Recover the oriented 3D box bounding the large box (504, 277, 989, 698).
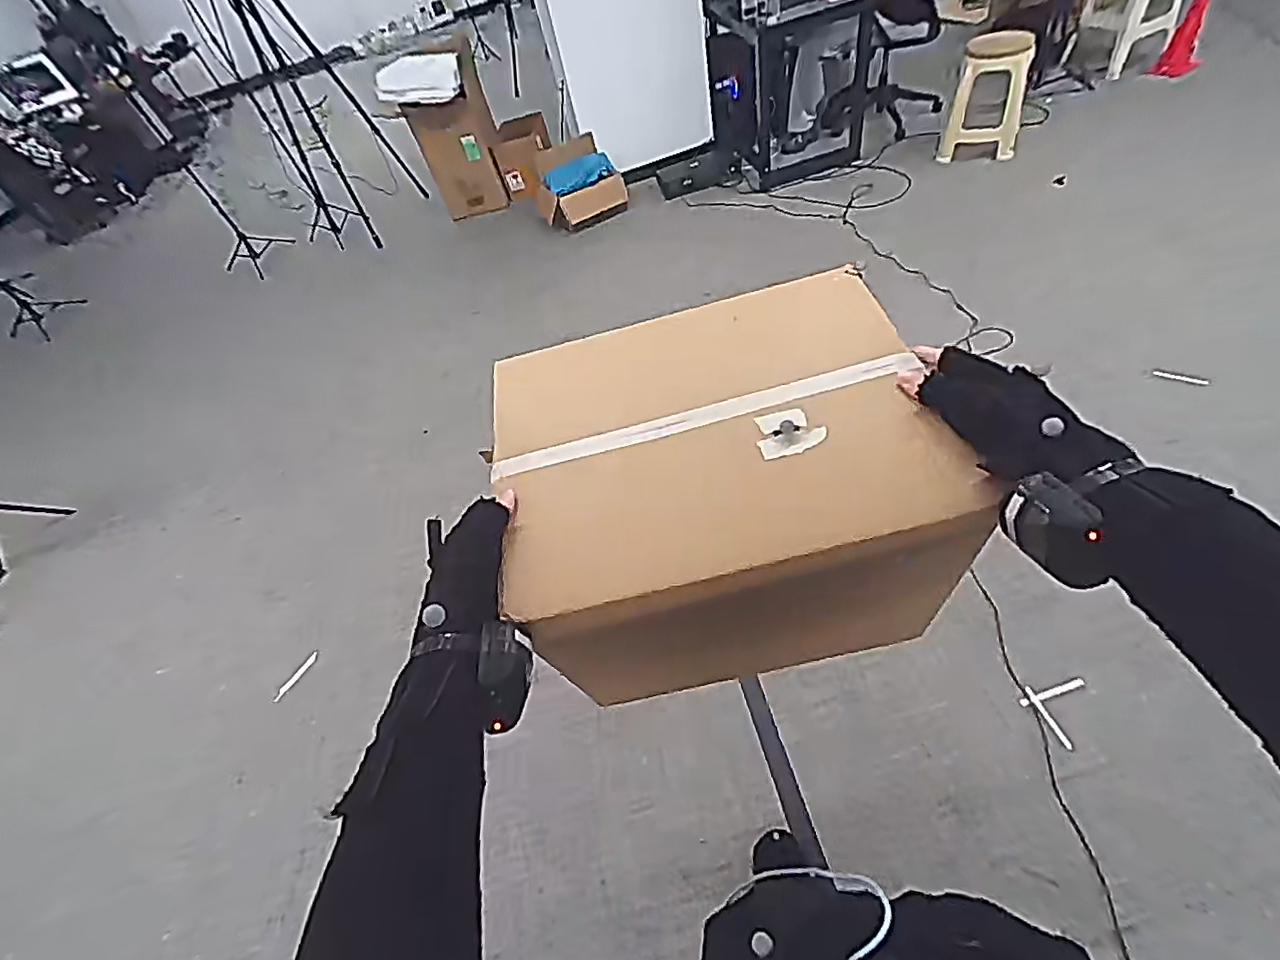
[{"bbox_3d":[0.088,0.026,0.642,0.408,0.320,0.320,-14,55,3],"label":"large box"}]
